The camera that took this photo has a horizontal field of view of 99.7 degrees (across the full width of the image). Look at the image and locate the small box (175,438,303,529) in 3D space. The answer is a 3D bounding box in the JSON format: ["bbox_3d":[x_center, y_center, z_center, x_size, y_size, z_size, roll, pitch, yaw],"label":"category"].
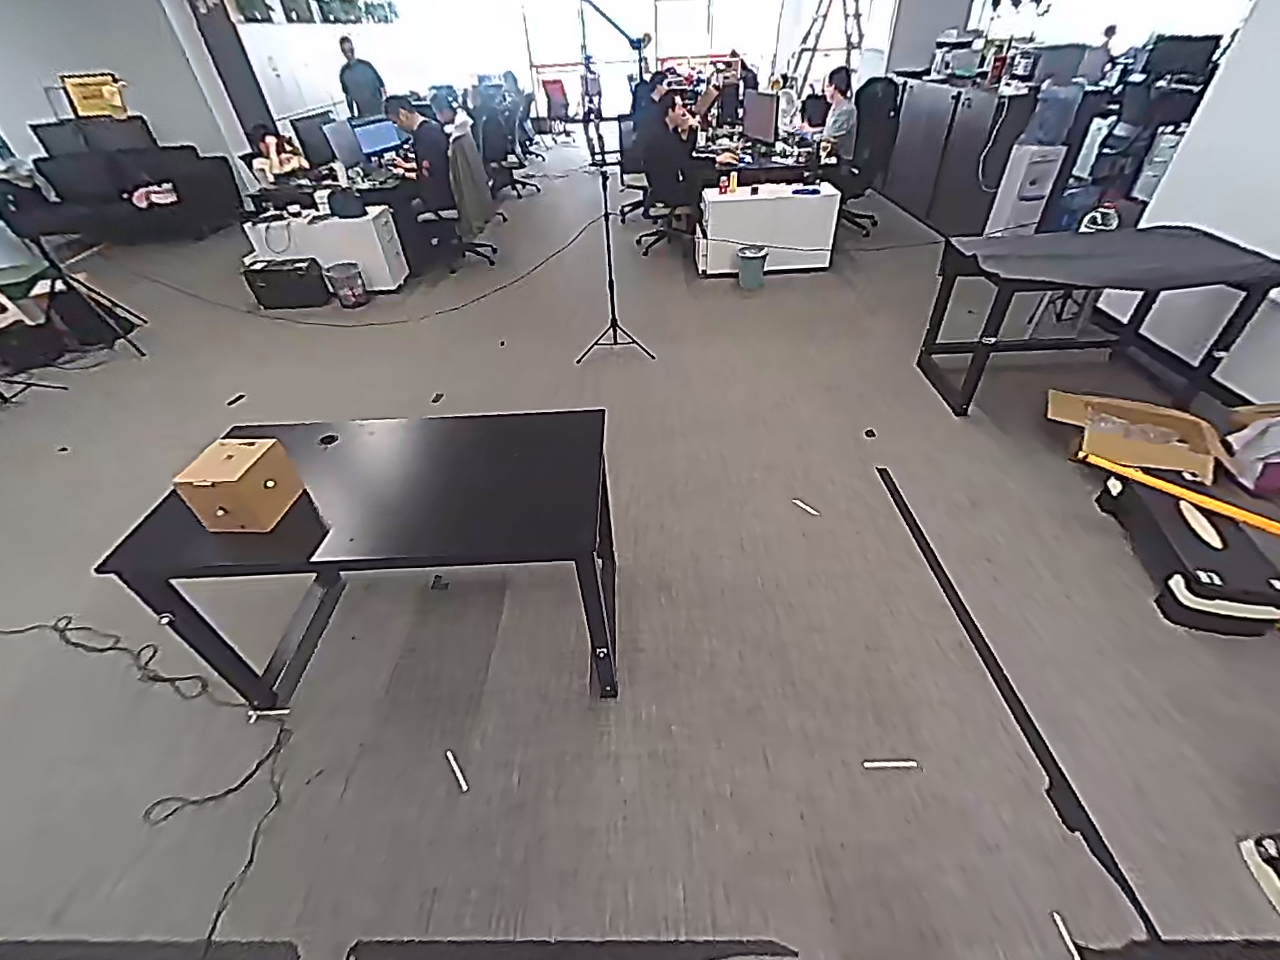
[{"bbox_3d":[-1.004,0.011,1.376,0.168,0.176,0.179,0,41,4],"label":"small box"}]
